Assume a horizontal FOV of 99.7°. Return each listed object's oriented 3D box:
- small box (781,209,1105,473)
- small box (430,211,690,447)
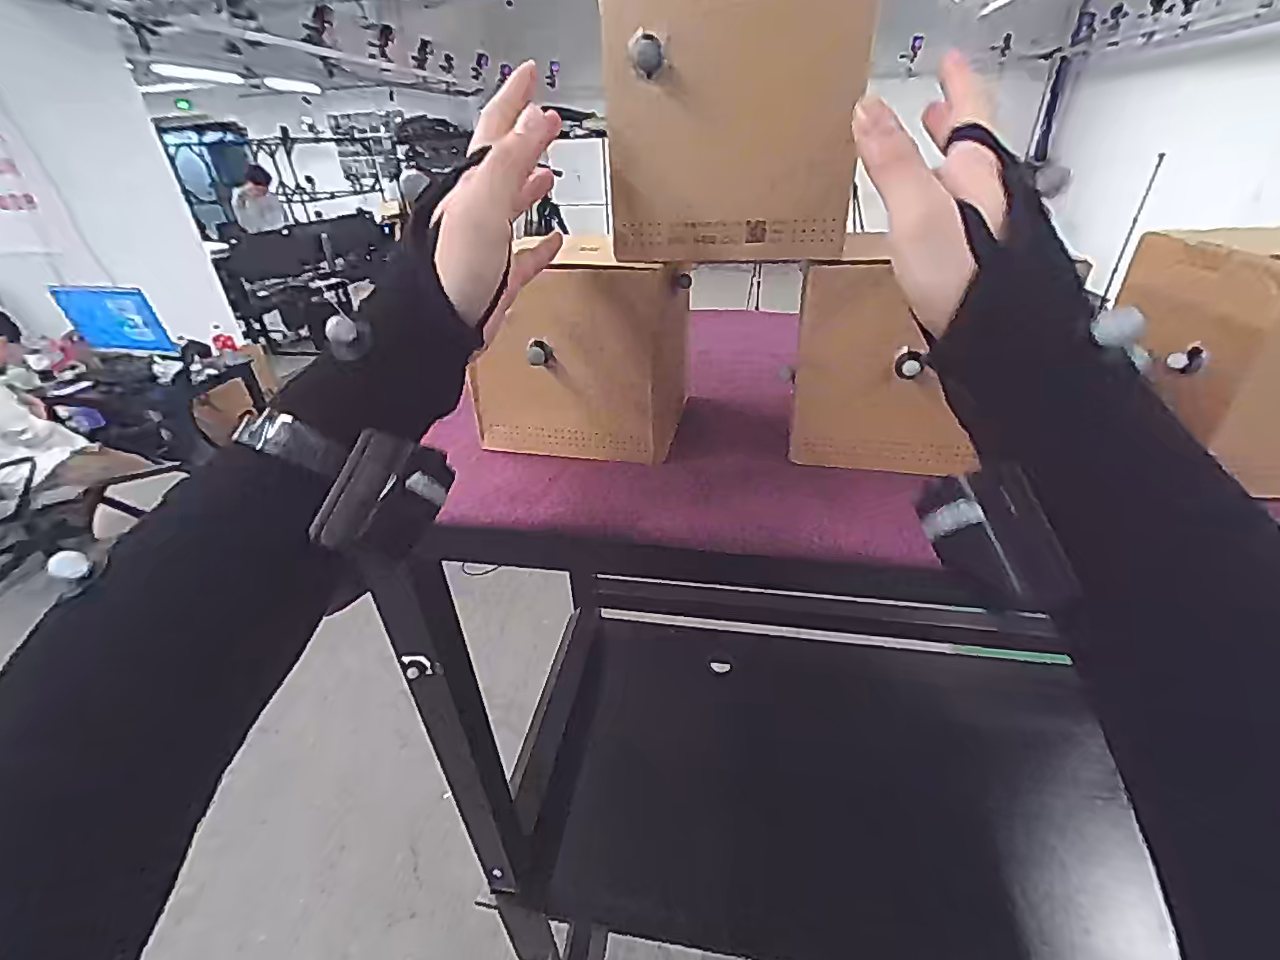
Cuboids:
[{"bbox_3d":[0.220,-0.120,0.449,0.179,0.176,0.168,6,33,14],"label":"small box"},{"bbox_3d":[-0.056,-0.143,0.495,0.179,0.176,0.168,7,34,12],"label":"small box"}]
